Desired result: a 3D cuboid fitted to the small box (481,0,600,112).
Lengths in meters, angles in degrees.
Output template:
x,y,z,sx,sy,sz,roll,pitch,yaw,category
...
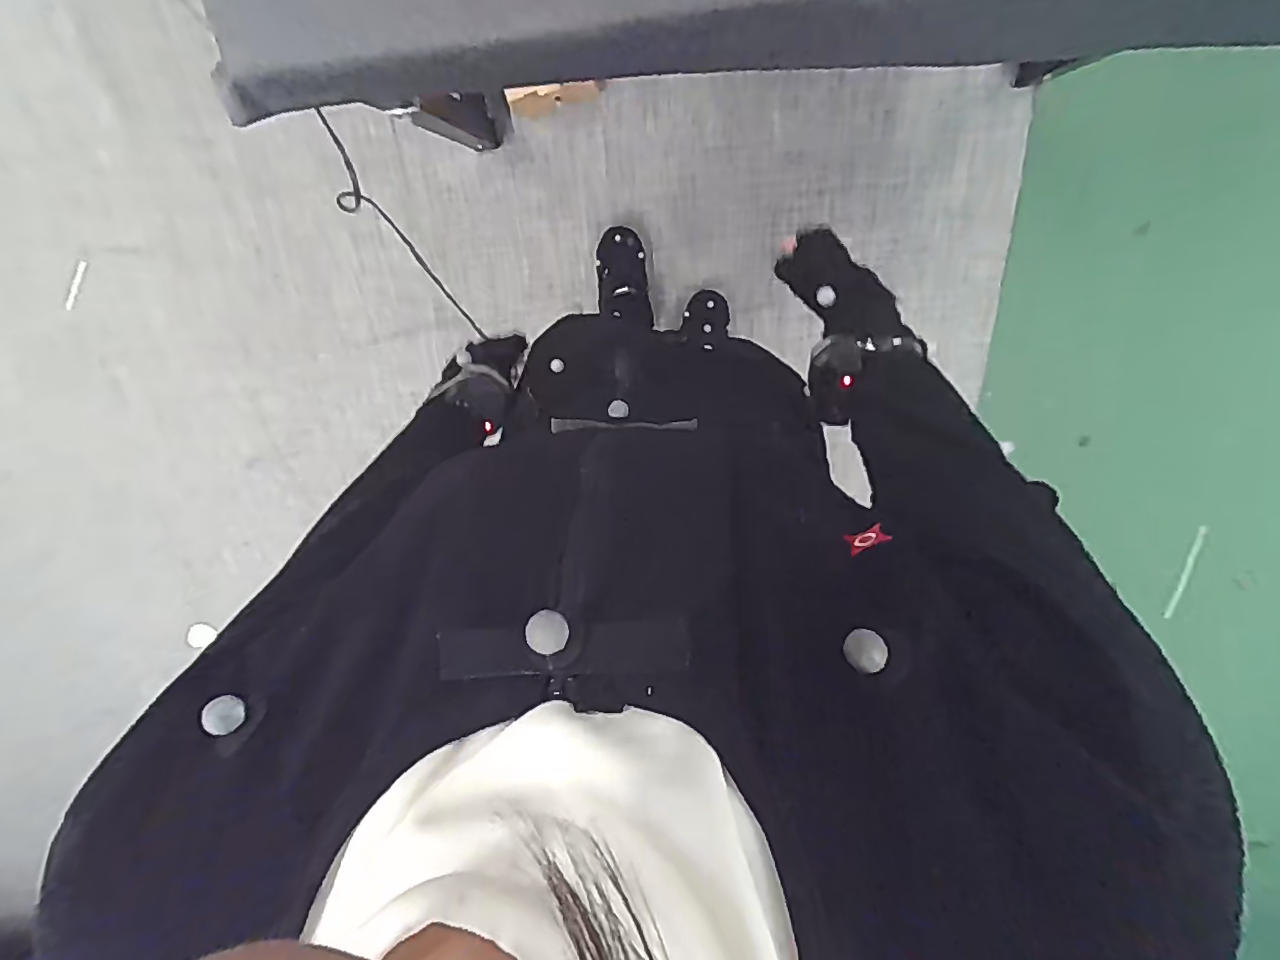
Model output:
x,y,z,sx,sy,sz,roll,pitch,yaw,category
-0.182,-0.836,1.043,0.168,0.176,0.179,-12,114,8,small box
